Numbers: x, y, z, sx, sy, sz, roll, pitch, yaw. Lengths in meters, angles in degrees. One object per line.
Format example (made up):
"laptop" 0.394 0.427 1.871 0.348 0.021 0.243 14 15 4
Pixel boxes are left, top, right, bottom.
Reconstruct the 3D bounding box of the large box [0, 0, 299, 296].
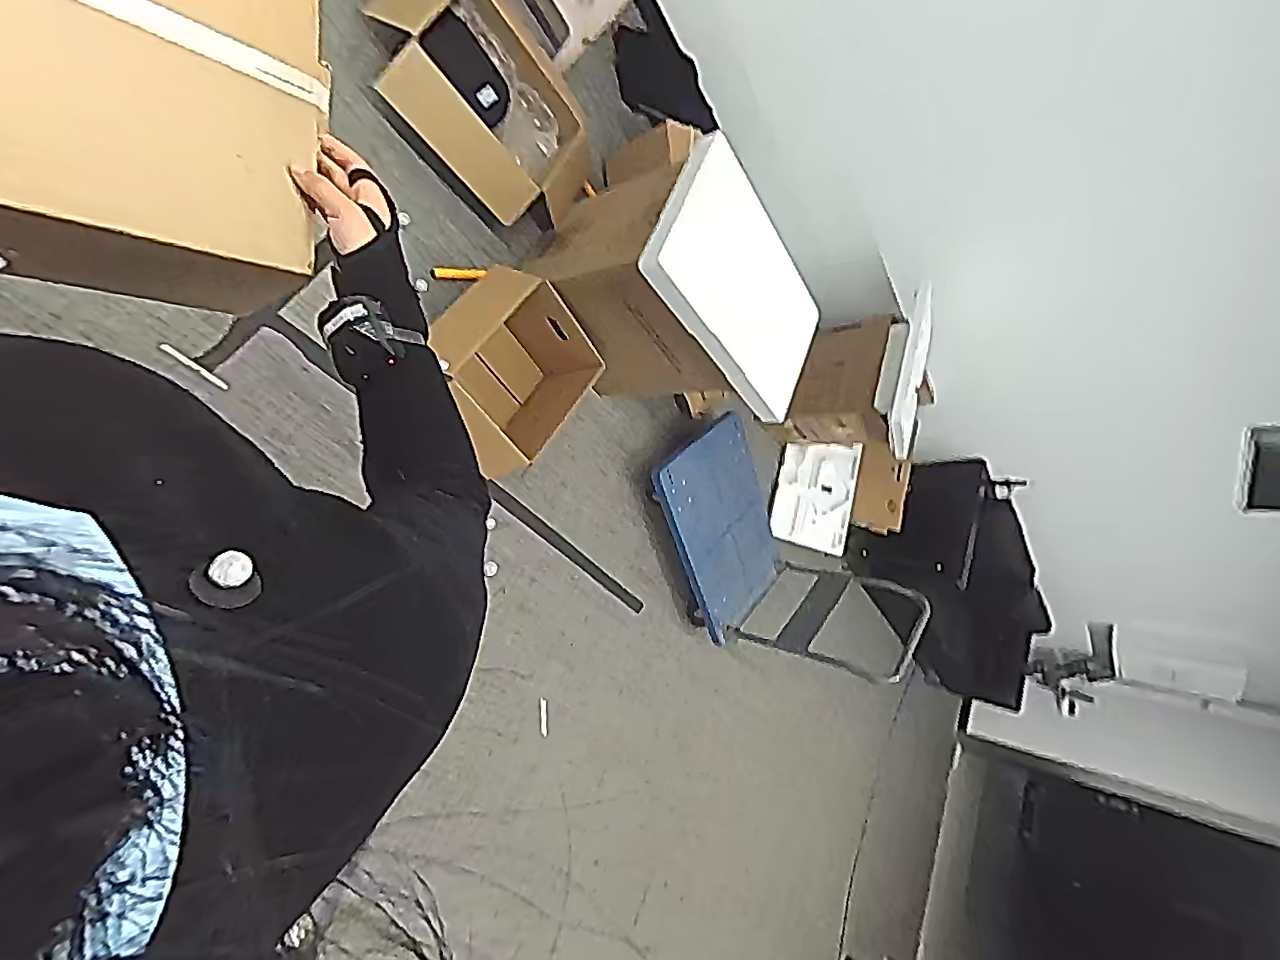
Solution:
"large box" -0.545 -0.360 0.442 0.408 0.320 0.320 -1 96 -45
